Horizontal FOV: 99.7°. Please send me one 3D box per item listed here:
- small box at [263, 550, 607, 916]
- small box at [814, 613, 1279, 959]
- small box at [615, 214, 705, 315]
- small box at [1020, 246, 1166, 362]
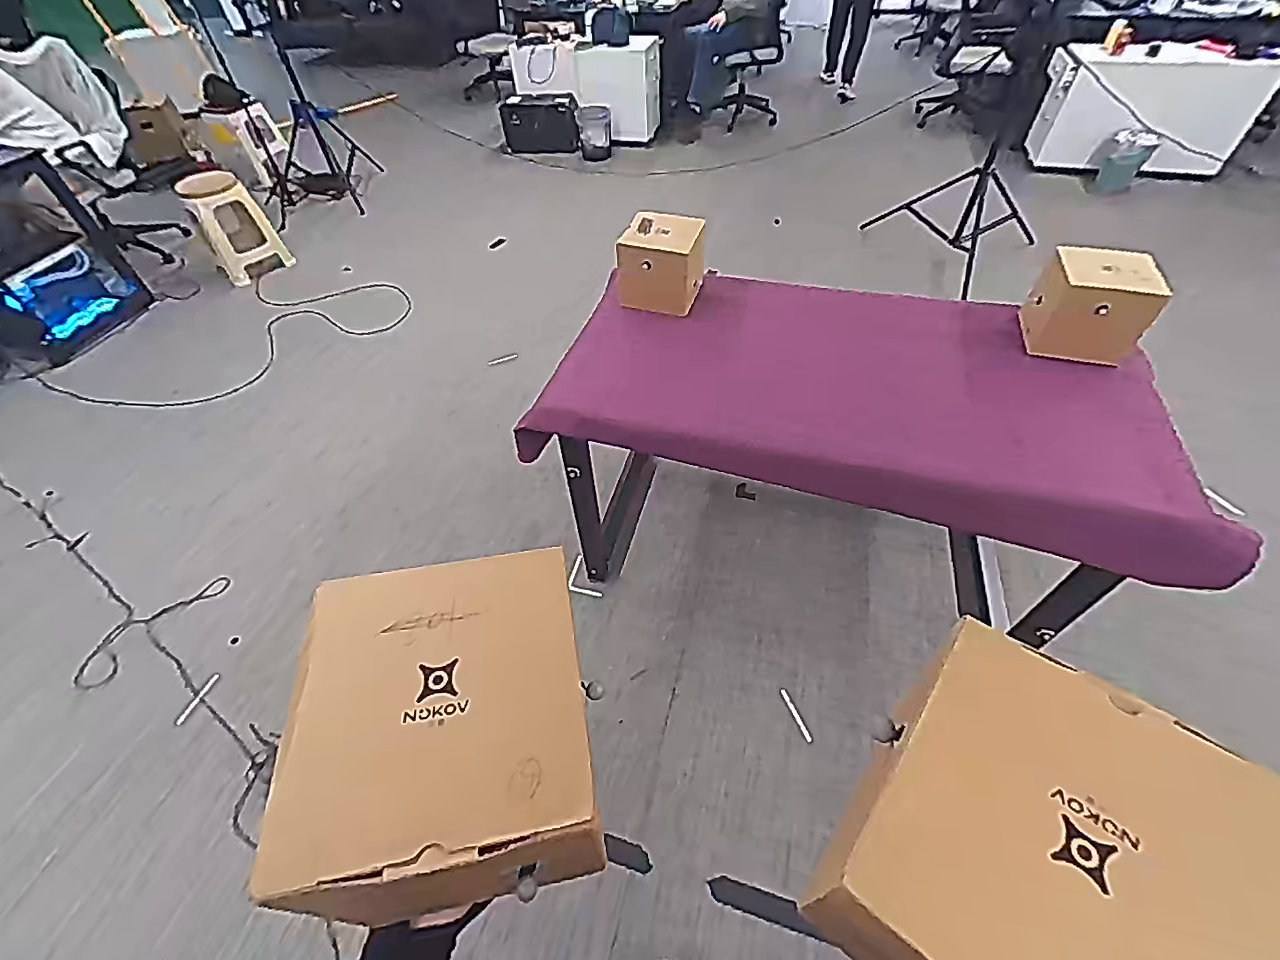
[{"bbox_3d":[-0.117,0.177,0.377,0.168,0.176,0.179,-8,48,-10],"label":"small box"},{"bbox_3d":[0.218,0.222,0.317,0.168,0.176,0.179,28,56,28],"label":"small box"},{"bbox_3d":[0.052,-0.529,1.333,0.179,0.176,0.168,14,53,13],"label":"small box"},{"bbox_3d":[0.944,-0.372,1.152,0.179,0.176,0.168,12,52,12],"label":"small box"}]
